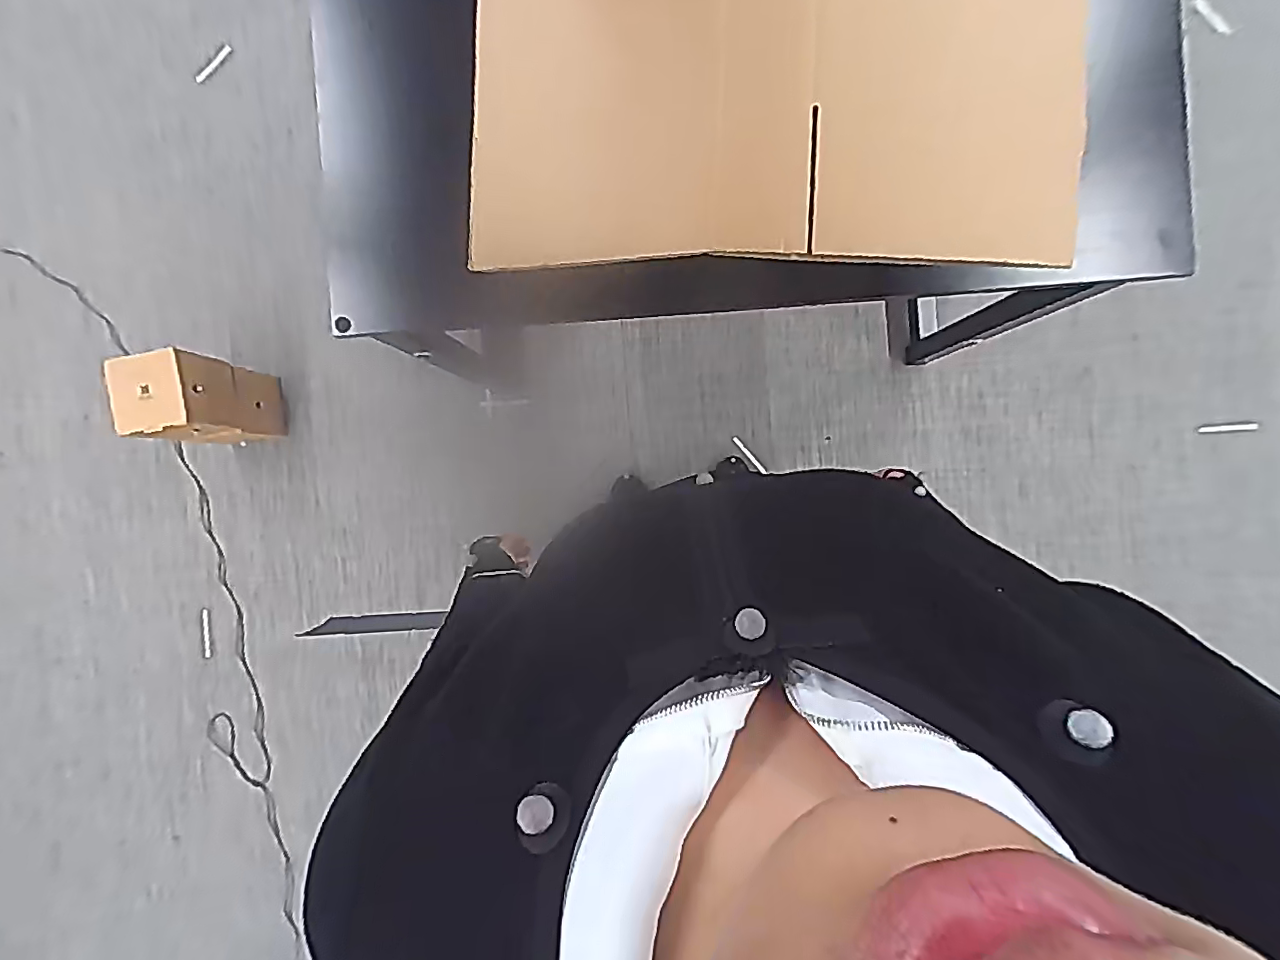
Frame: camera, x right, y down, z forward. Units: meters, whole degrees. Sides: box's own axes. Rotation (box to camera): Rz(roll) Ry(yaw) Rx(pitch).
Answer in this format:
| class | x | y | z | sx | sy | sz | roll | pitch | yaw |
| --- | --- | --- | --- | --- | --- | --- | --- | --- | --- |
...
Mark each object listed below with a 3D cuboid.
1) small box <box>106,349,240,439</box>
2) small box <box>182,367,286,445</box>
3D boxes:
| class | x | y | z | sx | sy | sz | roll | pitch | yaw |
| --- | --- | --- | --- | --- | --- | --- | --- | --- | --- |
| small box | -1.099 | -0.196 | 1.289 | 0.168 | 0.176 | 0.179 | -11 | 90 | 1 |
| small box | -1.092 | -0.192 | 1.451 | 0.168 | 0.176 | 0.179 | -8 | 91 | 2 |
